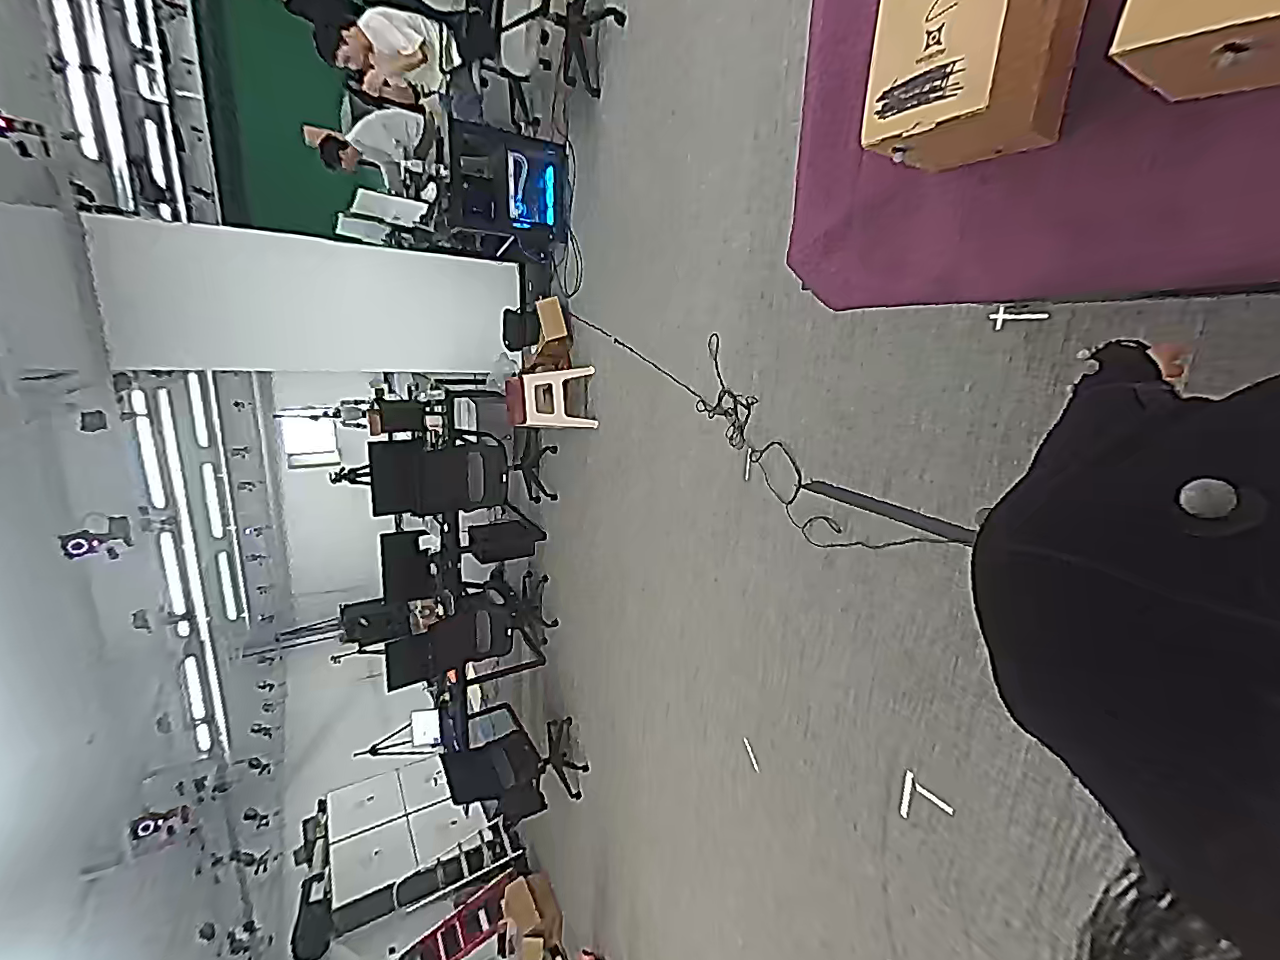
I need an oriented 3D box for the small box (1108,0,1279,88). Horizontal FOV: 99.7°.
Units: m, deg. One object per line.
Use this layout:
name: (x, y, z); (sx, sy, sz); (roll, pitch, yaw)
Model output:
small box: (0.550, -0.450, 0.441); (0.179, 0.176, 0.168); (35, 125, 51)
